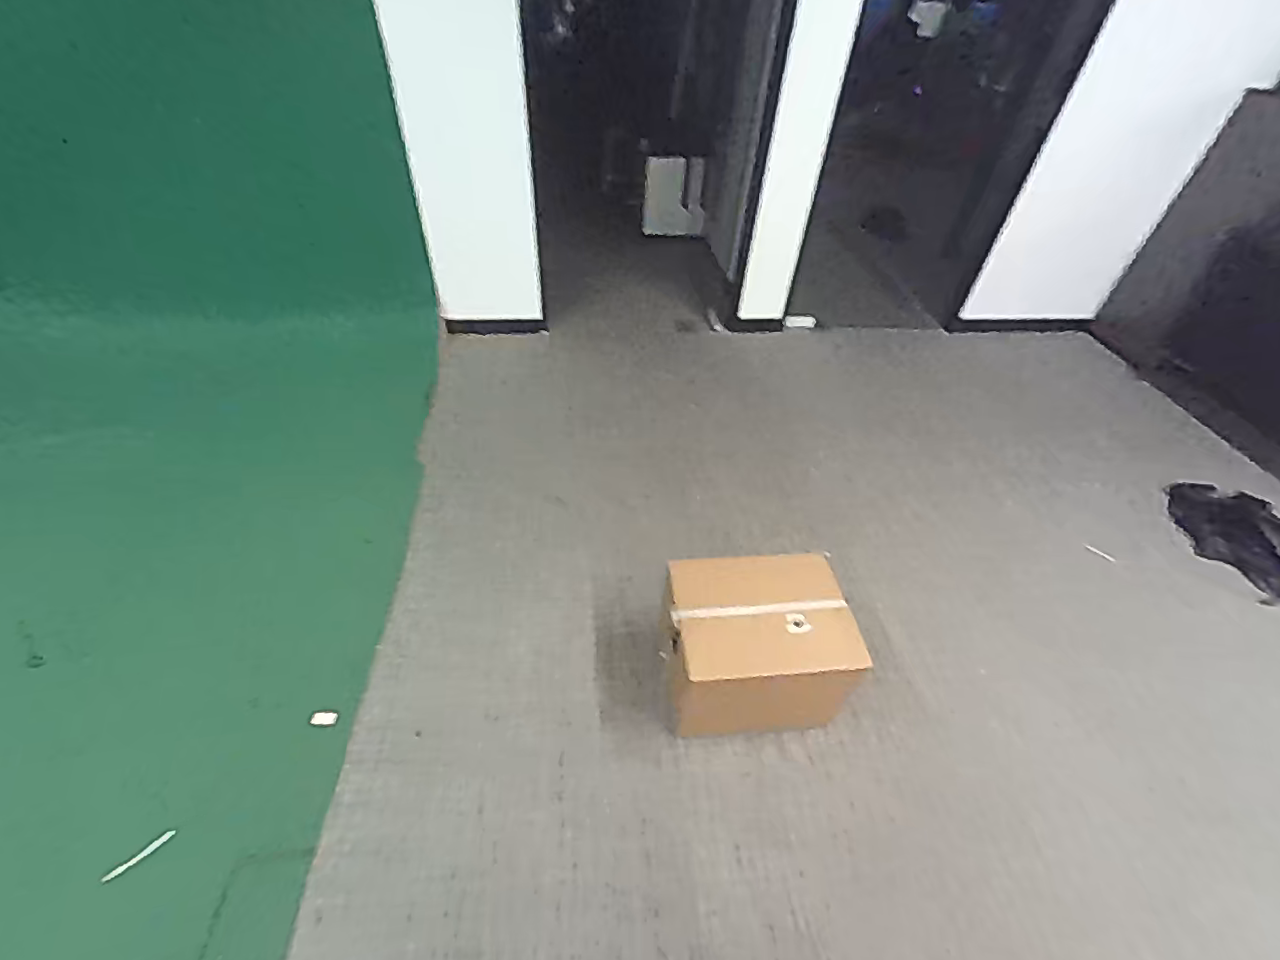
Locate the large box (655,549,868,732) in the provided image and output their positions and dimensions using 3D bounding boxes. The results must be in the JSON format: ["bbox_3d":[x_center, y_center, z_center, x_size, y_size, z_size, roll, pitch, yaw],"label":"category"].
[{"bbox_3d":[0.267,0.396,1.341,0.408,0.320,0.320,-1,45,-8],"label":"large box"}]
